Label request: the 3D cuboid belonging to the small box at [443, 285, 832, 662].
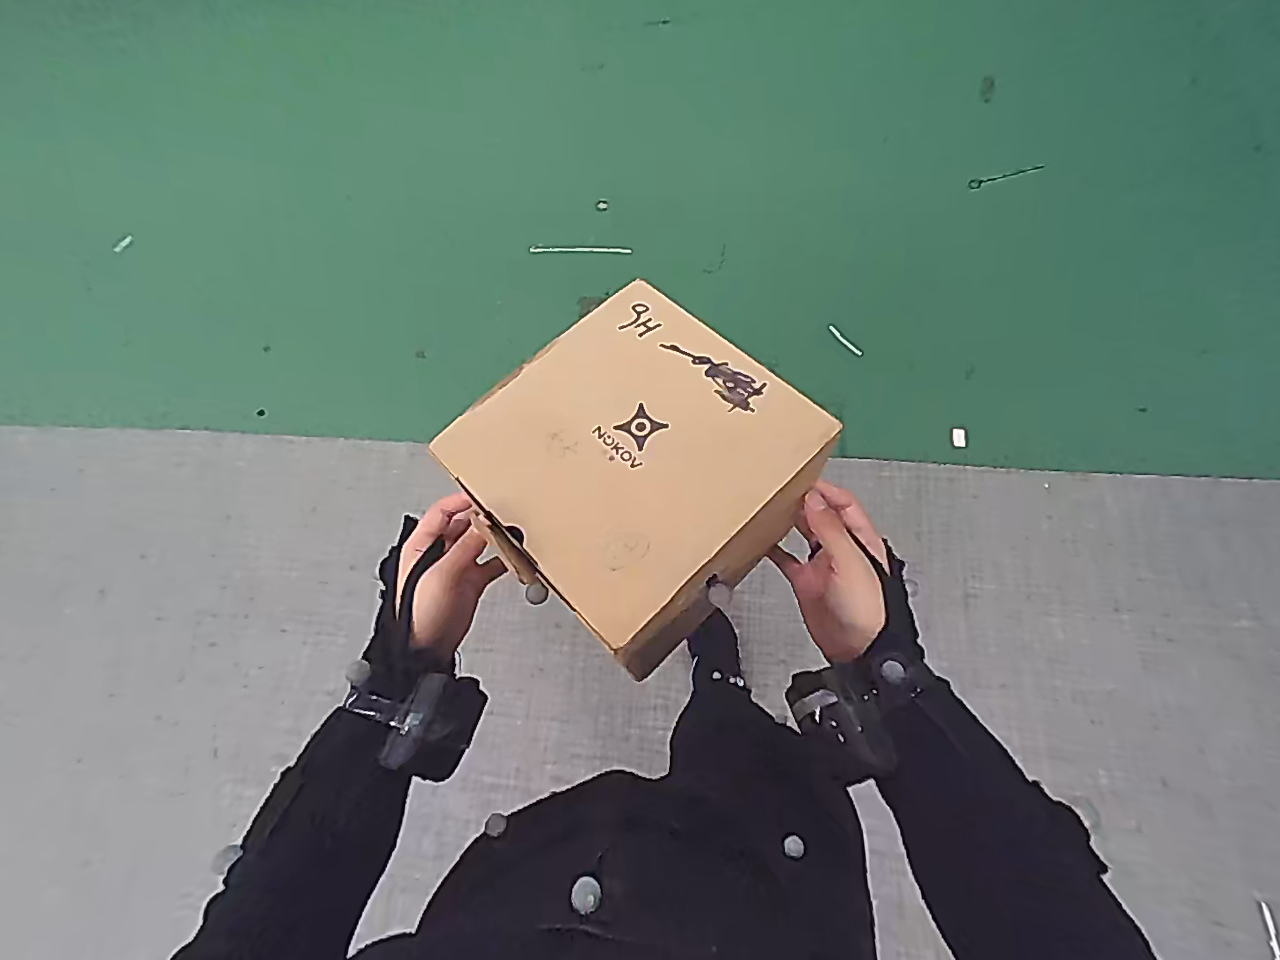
[{"bbox_3d":[0.003,0.008,0.389,0.179,0.176,0.168,-43,69,-13],"label":"small box"}]
